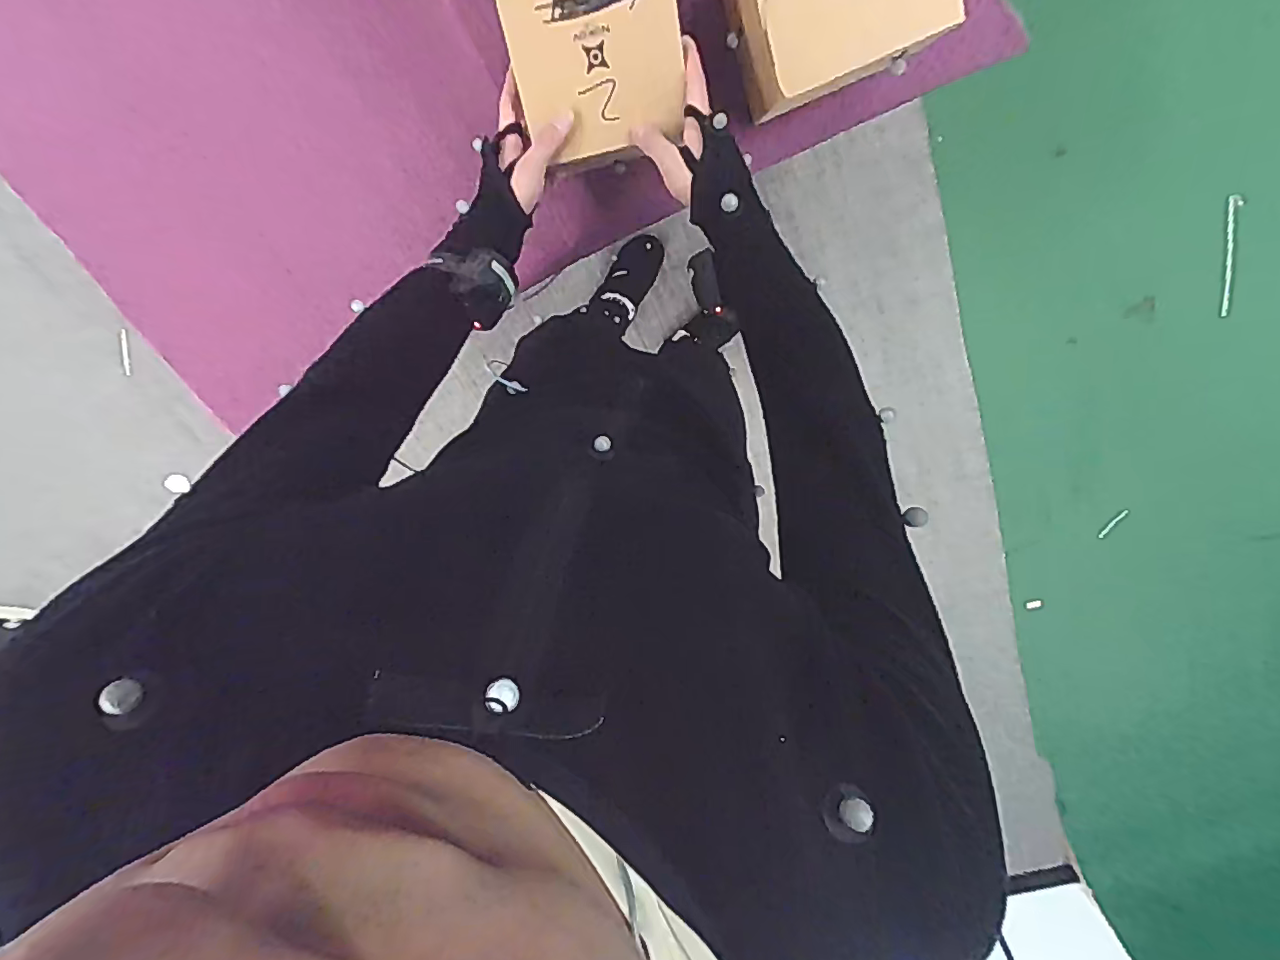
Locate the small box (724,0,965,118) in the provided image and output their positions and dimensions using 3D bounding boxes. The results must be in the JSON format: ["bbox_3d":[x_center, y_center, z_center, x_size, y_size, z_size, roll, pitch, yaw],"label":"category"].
[{"bbox_3d":[0.189,-0.496,0.543,0.179,0.176,0.168,-18,115,12],"label":"small box"}]
